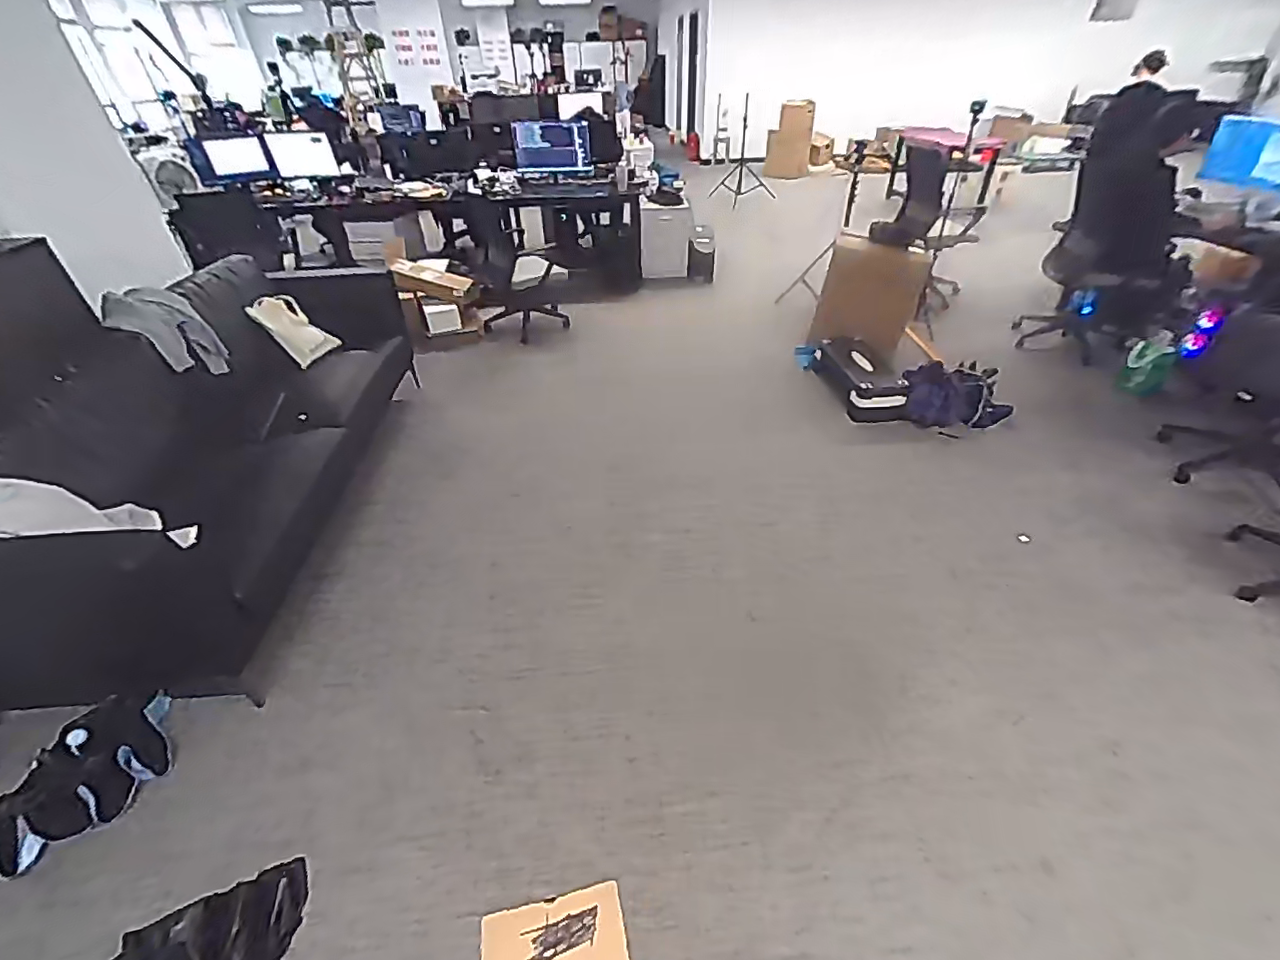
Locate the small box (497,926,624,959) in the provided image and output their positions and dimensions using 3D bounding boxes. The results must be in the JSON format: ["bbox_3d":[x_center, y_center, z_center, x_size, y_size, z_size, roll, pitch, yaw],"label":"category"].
[{"bbox_3d":[-0.083,0.669,0.608,0.168,0.176,0.179,-9,21,-10],"label":"small box"}]
